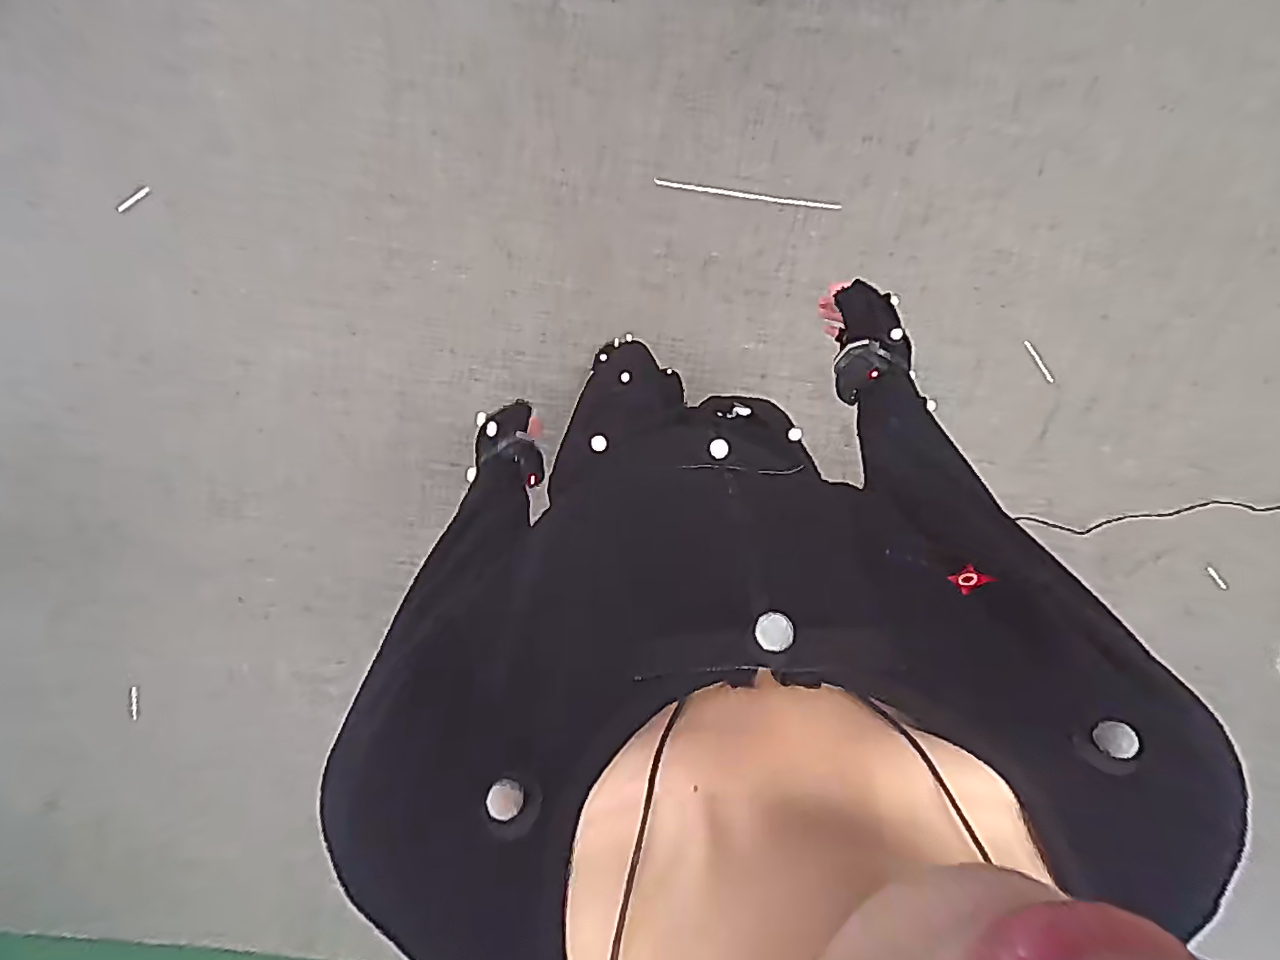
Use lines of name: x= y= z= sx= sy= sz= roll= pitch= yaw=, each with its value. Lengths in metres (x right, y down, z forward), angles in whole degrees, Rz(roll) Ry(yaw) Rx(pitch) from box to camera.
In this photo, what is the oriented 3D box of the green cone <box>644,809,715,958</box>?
green cone: x=0.130 y=1.172 z=1.546 sx=0.200 sy=0.368 sz=0.202 roll=10 pitch=99 yaw=-3
